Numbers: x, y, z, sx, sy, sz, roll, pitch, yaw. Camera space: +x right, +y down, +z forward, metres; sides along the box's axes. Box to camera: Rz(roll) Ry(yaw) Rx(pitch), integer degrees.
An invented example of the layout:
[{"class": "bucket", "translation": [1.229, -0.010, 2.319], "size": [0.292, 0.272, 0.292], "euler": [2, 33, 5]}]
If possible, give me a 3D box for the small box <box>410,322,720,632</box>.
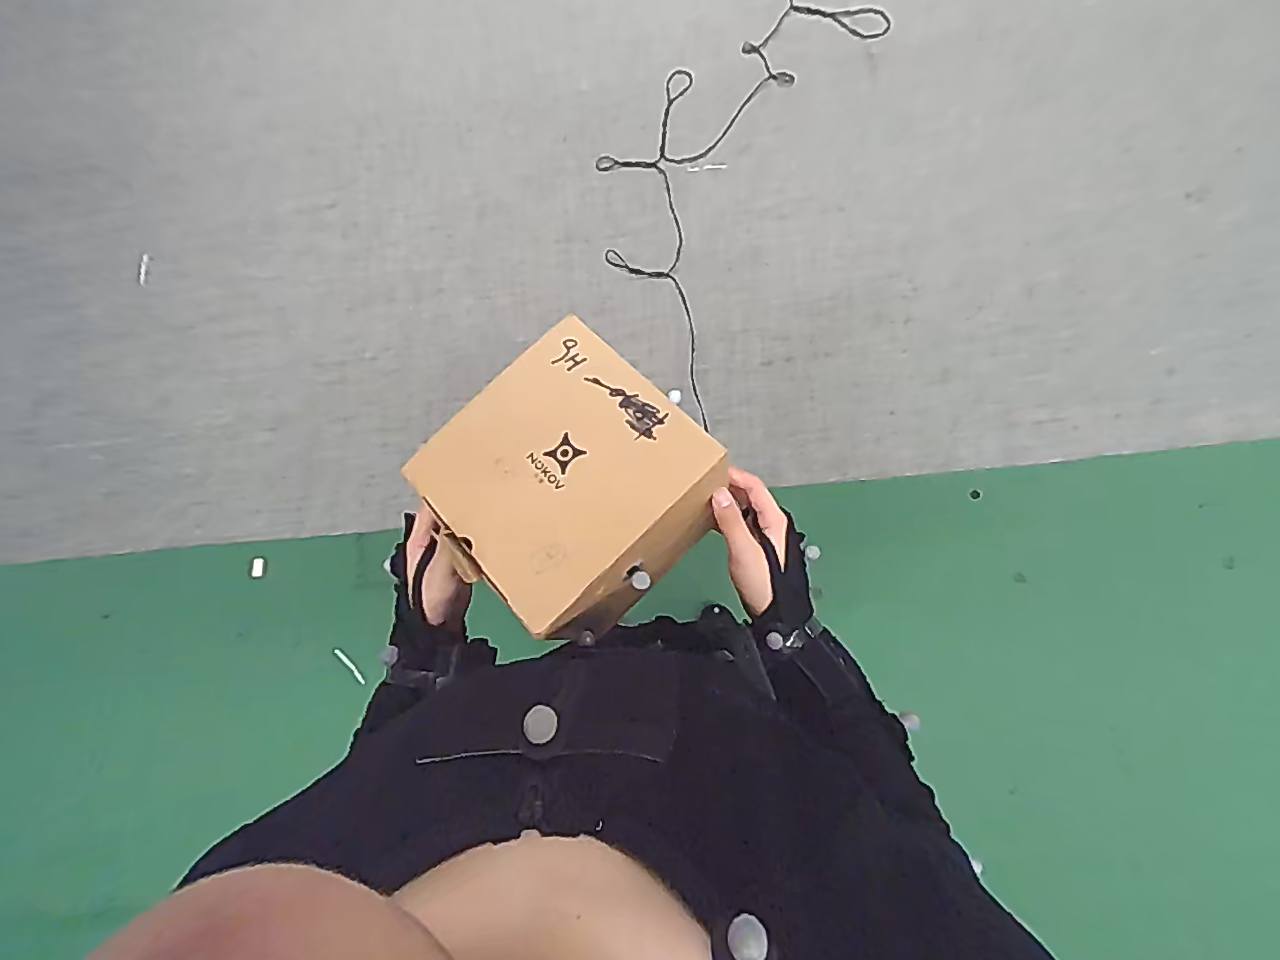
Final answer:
[{"class": "small box", "translation": [-0.045, 0.012, 0.461], "size": [0.179, 0.176, 0.168], "euler": [-45, 71, -4]}]
